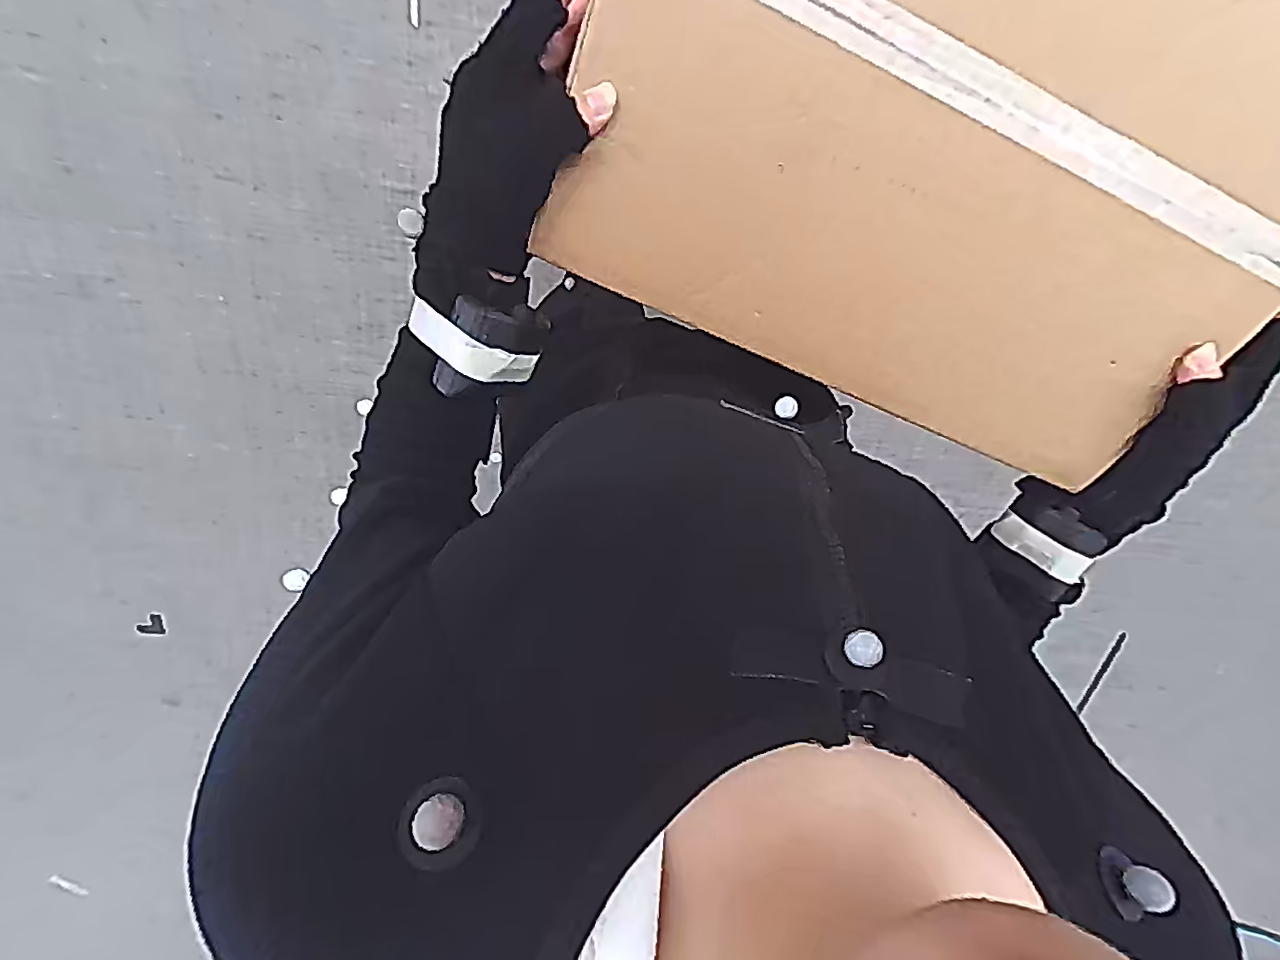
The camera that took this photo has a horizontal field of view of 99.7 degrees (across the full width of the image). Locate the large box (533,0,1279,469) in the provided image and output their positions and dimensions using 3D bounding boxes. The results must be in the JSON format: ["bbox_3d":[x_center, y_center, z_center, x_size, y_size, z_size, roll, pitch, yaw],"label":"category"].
[{"bbox_3d":[0.180,-0.270,0.396,0.408,0.320,0.320,21,123,-10],"label":"large box"}]
